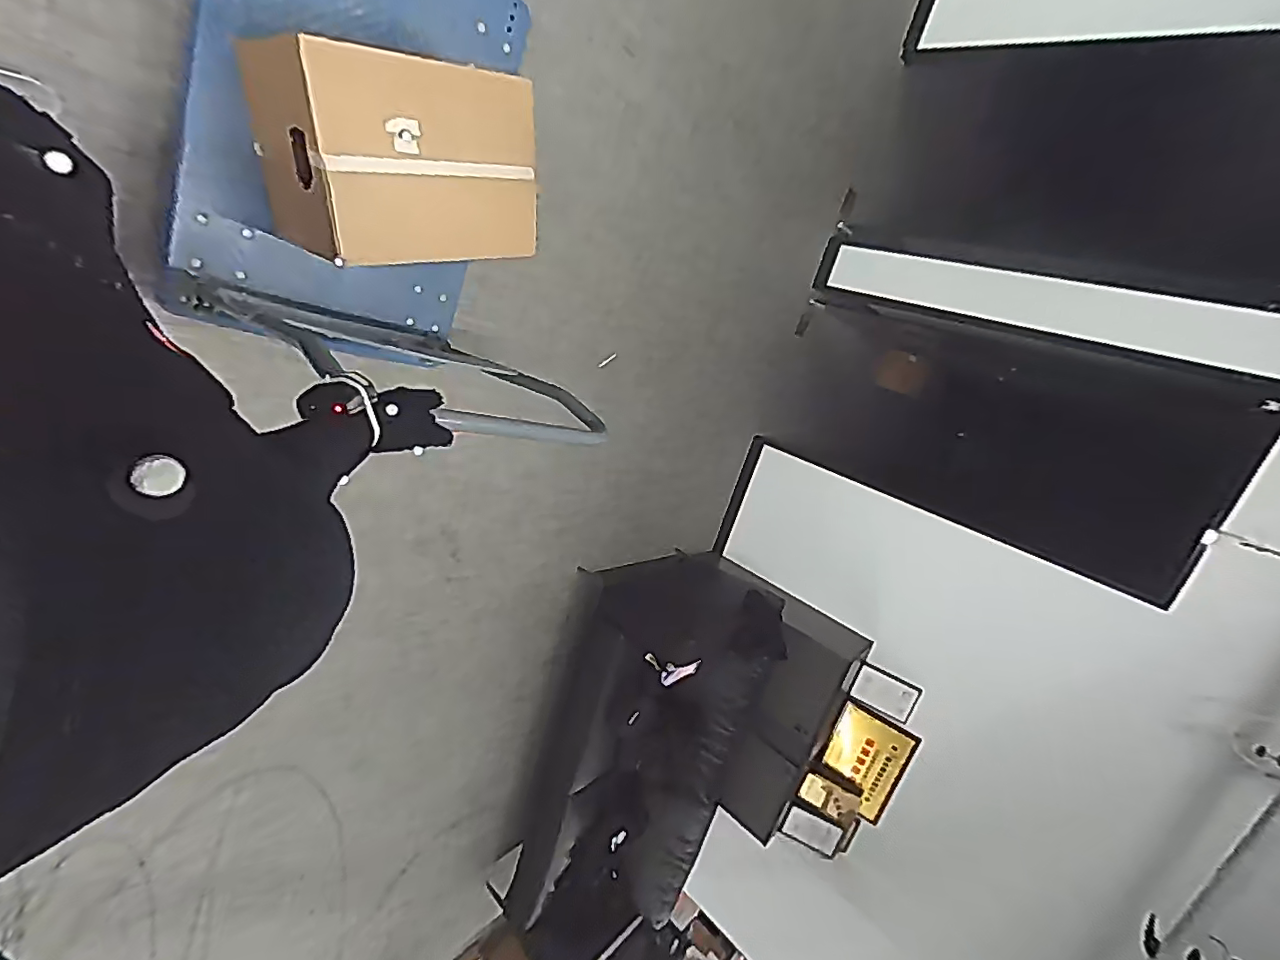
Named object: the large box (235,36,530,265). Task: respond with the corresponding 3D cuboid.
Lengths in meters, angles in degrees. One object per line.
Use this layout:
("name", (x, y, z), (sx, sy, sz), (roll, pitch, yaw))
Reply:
("large box", (-0.467, -0.621, 1.044), (0.408, 0.320, 0.320), (-25, 132, -40))
